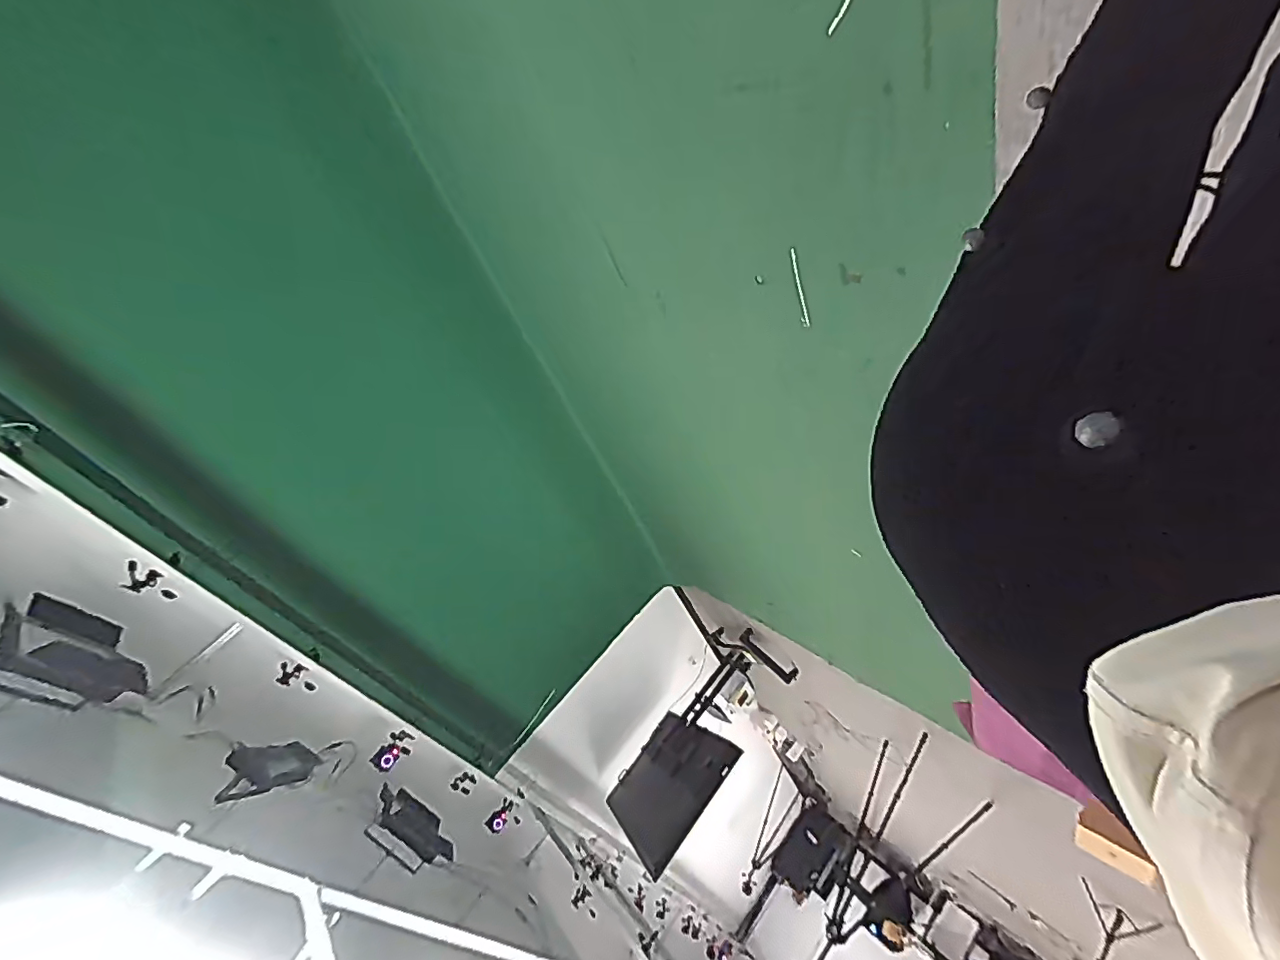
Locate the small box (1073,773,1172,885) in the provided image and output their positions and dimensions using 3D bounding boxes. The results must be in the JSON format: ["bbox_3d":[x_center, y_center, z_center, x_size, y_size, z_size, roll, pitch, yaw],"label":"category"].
[{"bbox_3d":[1.330,0.960,1.494,0.168,0.176,0.179,19,146,48],"label":"small box"}]
